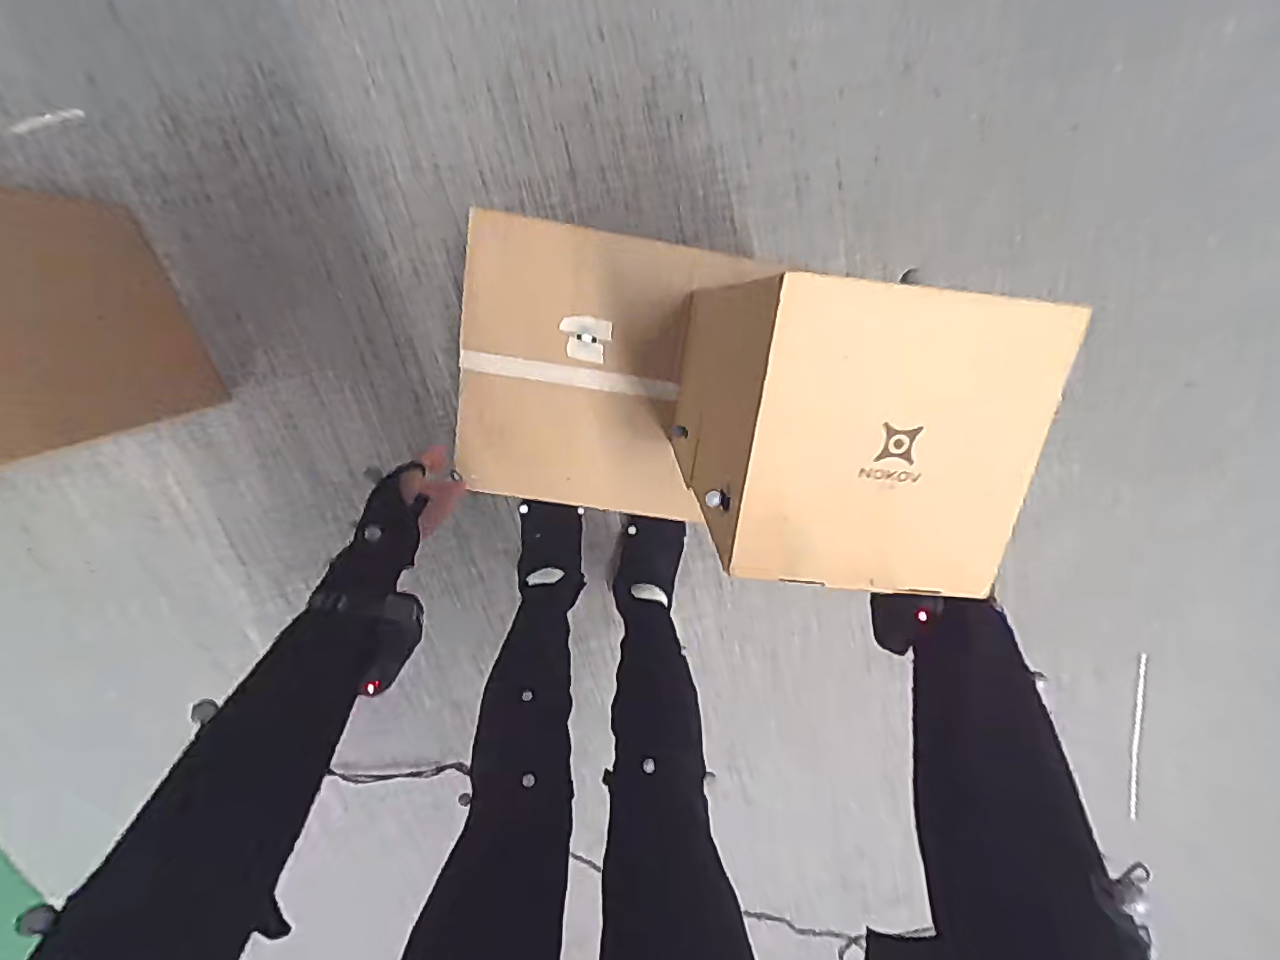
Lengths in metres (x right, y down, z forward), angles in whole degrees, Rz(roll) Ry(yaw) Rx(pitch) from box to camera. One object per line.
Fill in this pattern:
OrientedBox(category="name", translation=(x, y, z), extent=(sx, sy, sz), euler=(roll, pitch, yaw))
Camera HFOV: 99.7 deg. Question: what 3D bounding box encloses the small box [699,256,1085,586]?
OrientedBox(category="small box", translation=(0.141, -0.048, 0.378), extent=(0.168, 0.176, 0.179), euler=(5, 108, -4))
